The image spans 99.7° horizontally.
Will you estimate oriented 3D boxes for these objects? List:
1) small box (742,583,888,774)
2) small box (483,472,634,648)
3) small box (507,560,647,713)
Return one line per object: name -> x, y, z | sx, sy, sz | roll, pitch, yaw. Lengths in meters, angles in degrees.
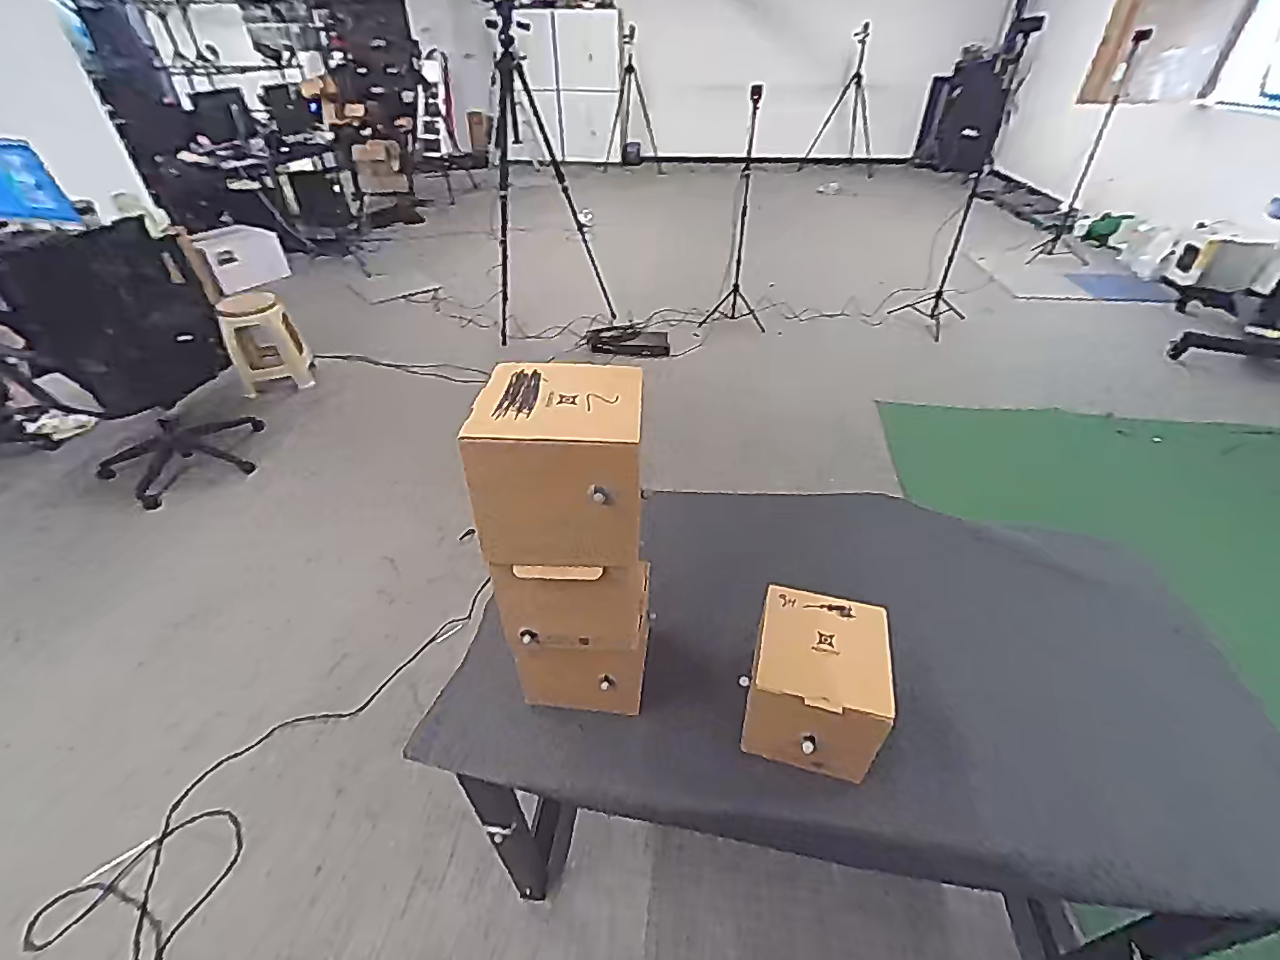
small box -> 0.241, 0.279, 0.762 | 0.168, 0.176, 0.179 | 9, 40, 14
small box -> -0.094, 0.106, 0.726 | 0.168, 0.176, 0.179 | 1, 36, 2
small box -> -0.082, 0.235, 0.828 | 0.179, 0.176, 0.168 | 2, 37, 6
